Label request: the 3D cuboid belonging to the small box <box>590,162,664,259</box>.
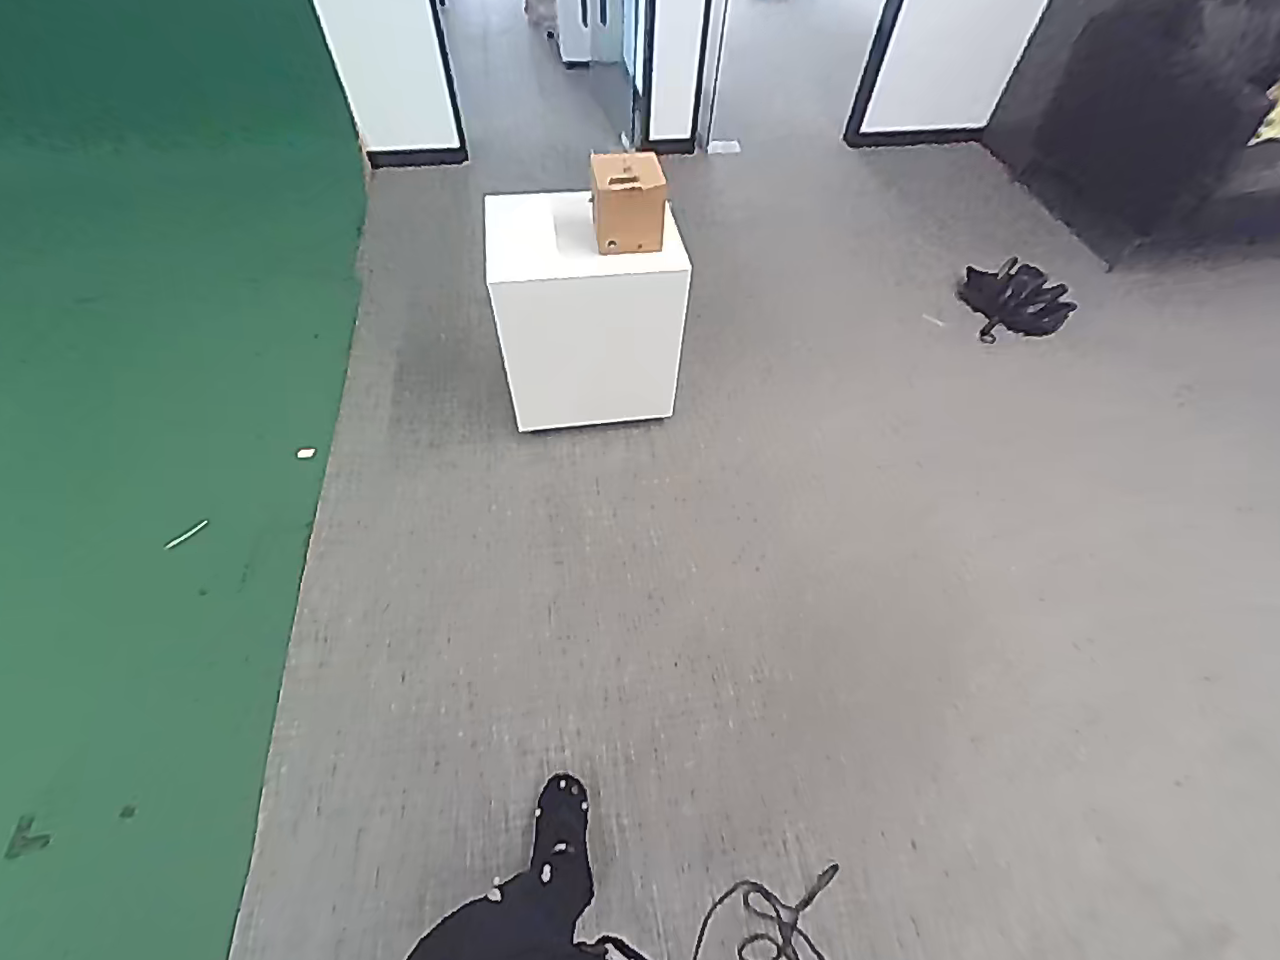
[{"bbox_3d":[-0.034,-0.684,1.385,0.168,0.176,0.179,-6,54,-7],"label":"small box"}]
